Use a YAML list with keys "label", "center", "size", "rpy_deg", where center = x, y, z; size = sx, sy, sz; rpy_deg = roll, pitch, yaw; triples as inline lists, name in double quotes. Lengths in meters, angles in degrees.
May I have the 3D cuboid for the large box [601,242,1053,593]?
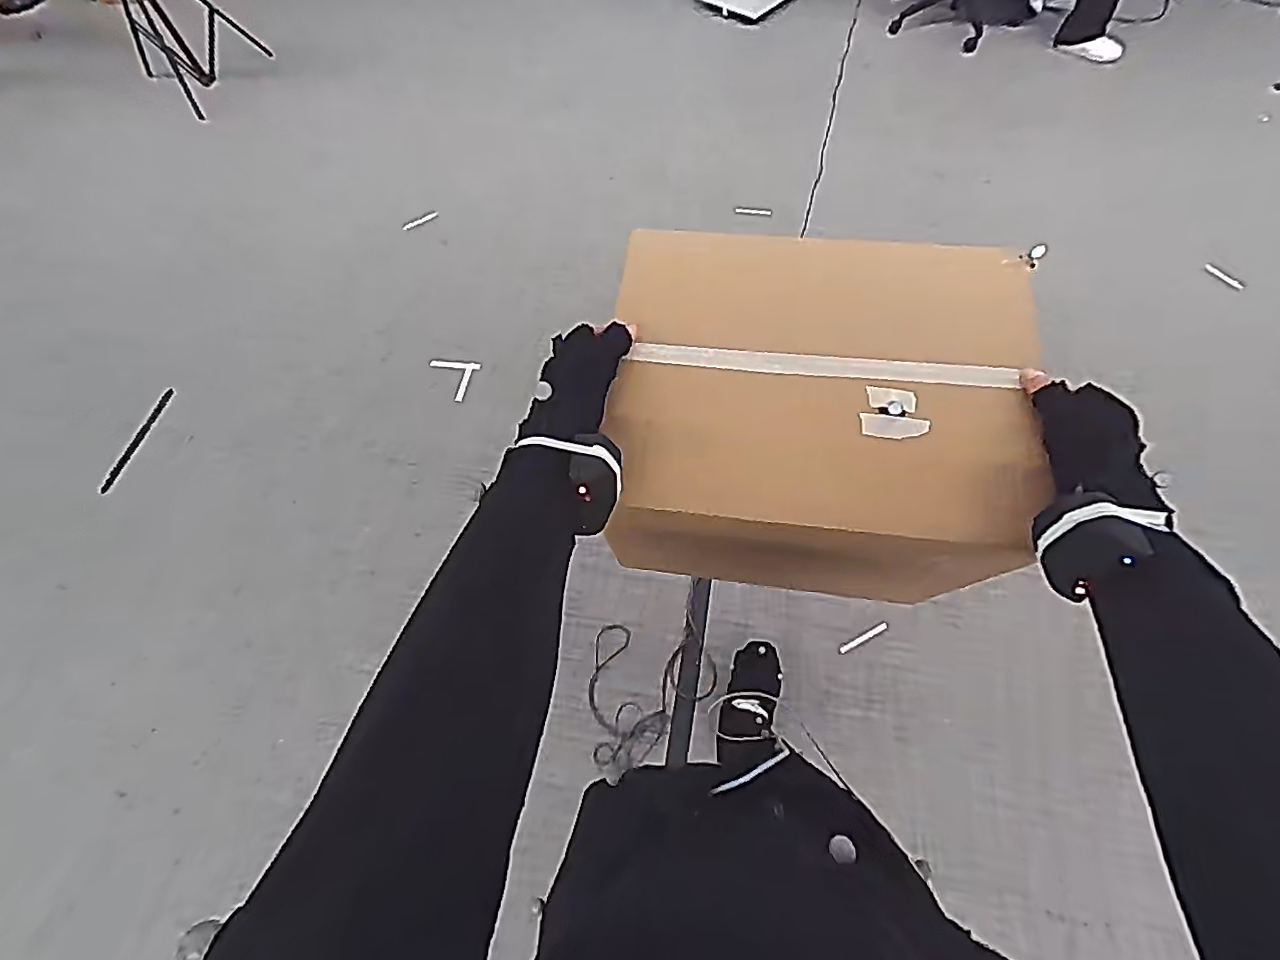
- label: "large box"
  center: [0.186, -0.055, 0.669]
  size: [0.408, 0.320, 0.320]
  rpy_deg: [6, 71, 7]
